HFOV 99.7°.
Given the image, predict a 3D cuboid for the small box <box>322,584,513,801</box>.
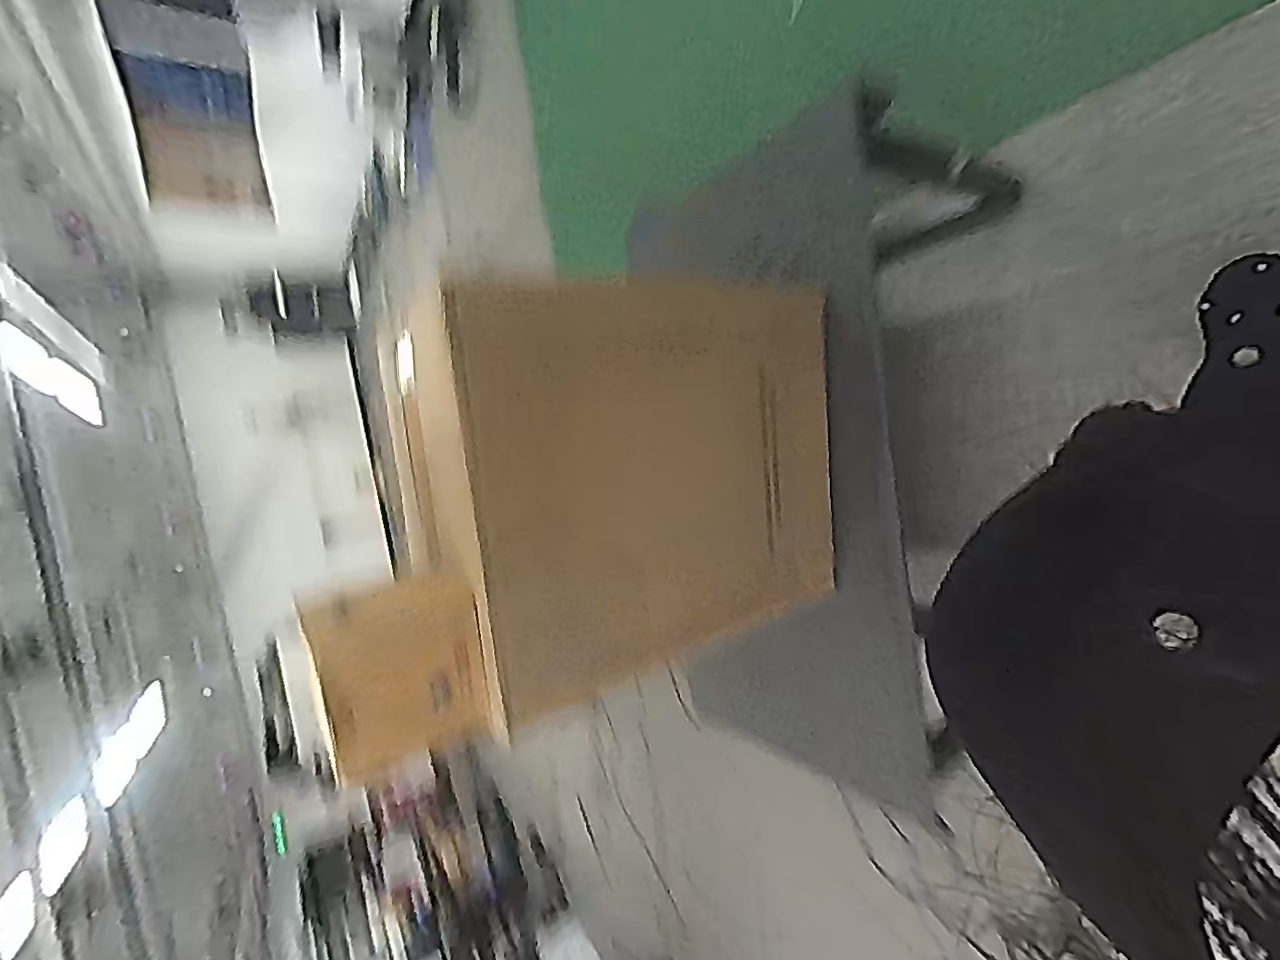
[{"bbox_3d":[-0.275,0.241,0.672,0.179,0.176,0.168,9,108,52],"label":"small box"}]
